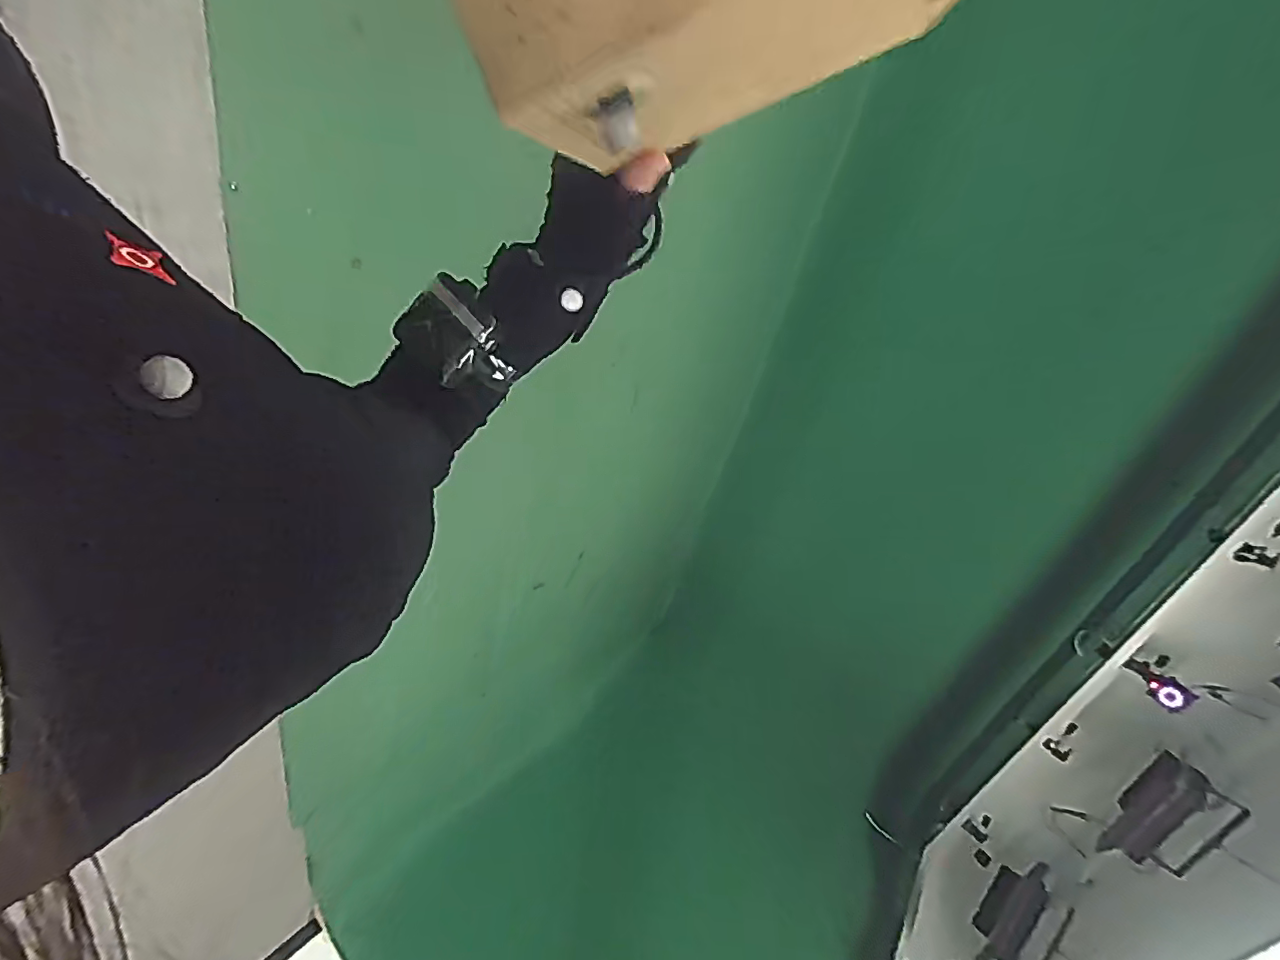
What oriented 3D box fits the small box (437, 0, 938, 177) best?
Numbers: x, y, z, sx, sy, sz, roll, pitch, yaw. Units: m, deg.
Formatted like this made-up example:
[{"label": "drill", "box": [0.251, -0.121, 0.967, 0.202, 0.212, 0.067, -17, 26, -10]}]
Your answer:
[{"label": "small box", "box": [0.009, -0.233, 0.187, 0.168, 0.176, 0.179, -71, 141, -65]}]
